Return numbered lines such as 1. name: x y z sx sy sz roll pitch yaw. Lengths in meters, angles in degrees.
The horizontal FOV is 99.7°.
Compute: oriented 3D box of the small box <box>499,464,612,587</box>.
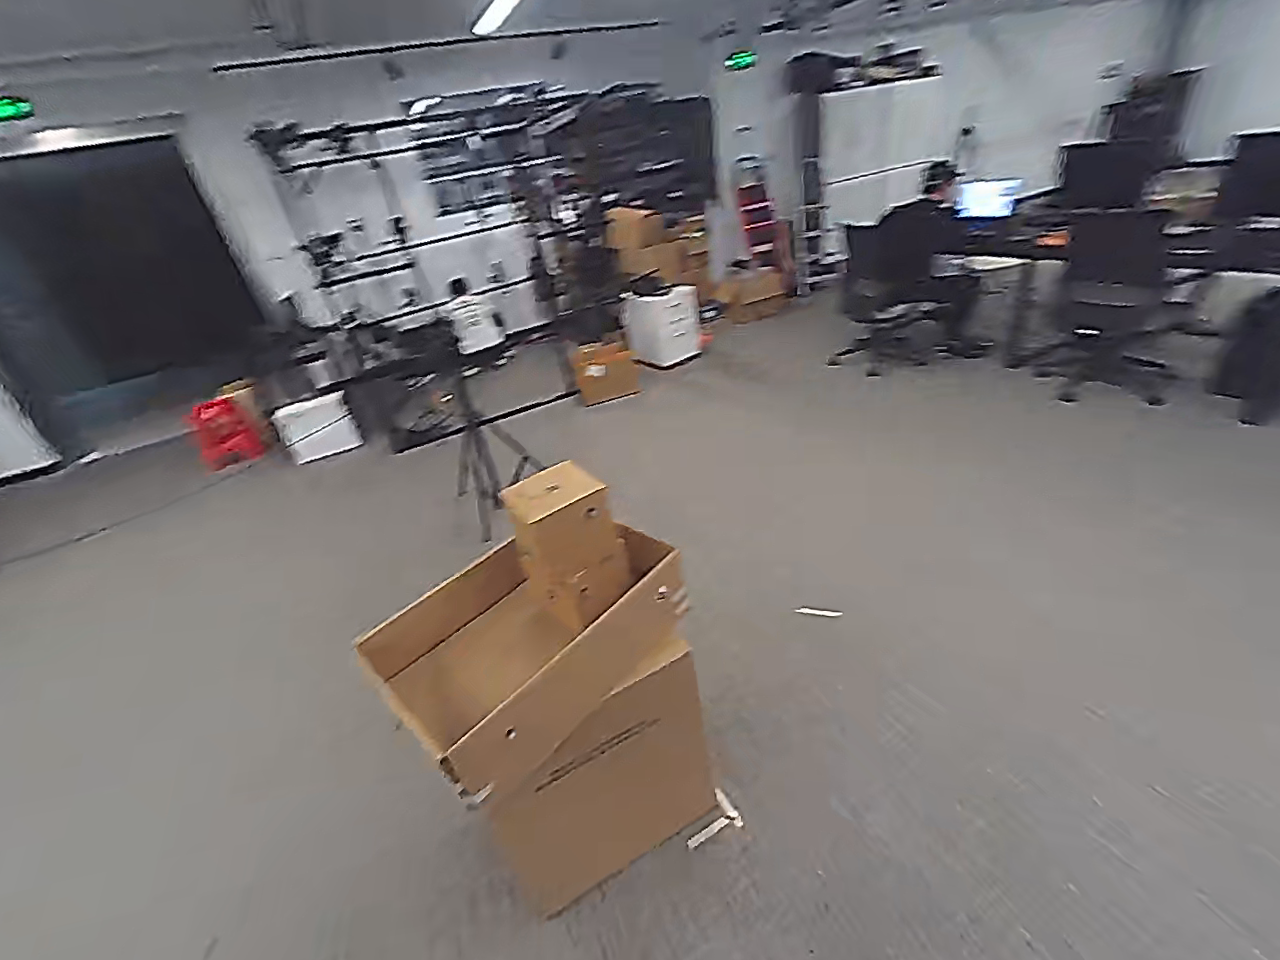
1. small box: -0.175 0.096 1.169 0.179 0.176 0.168 -28 35 -24
